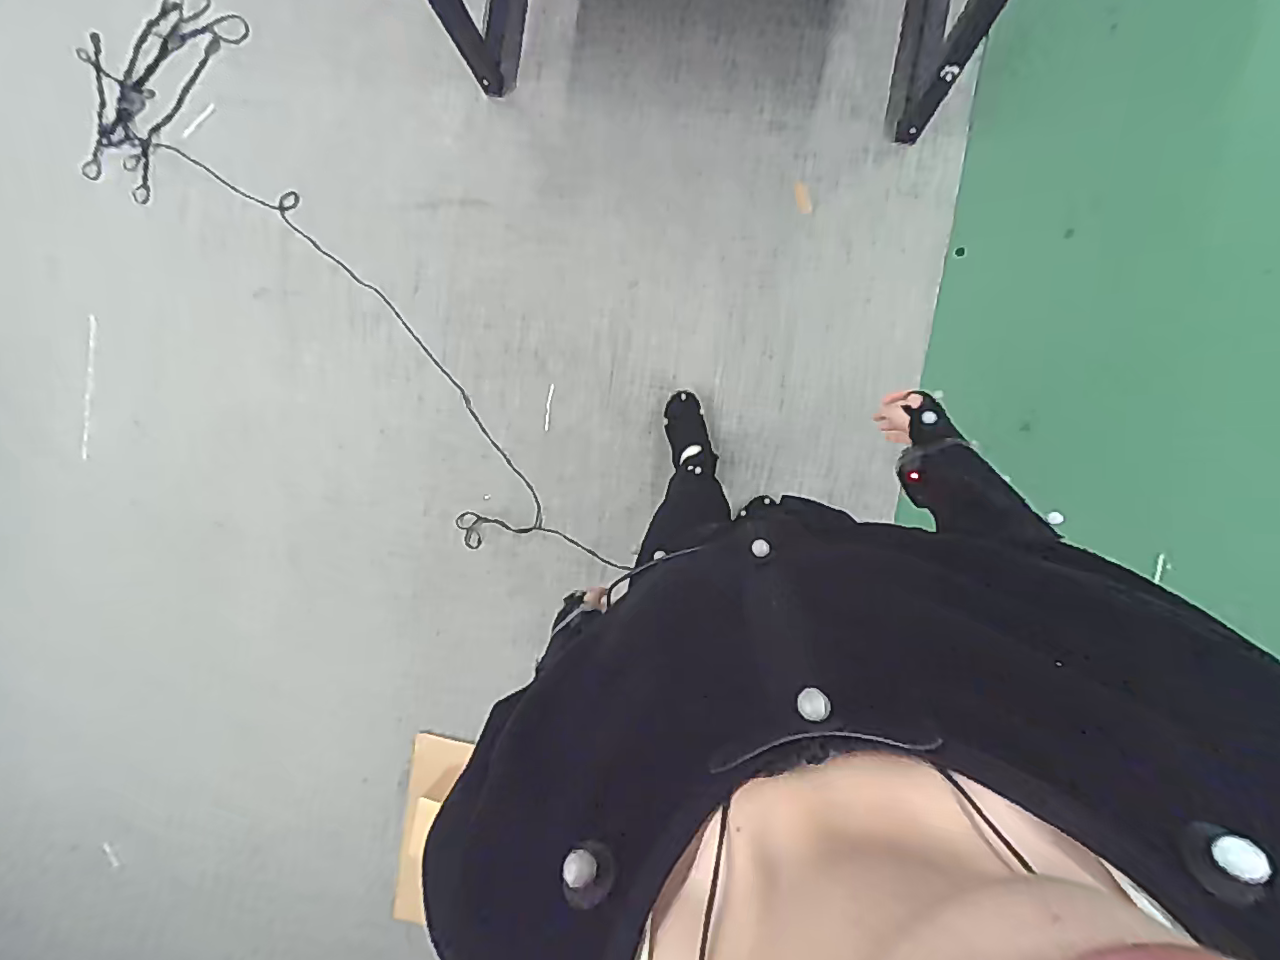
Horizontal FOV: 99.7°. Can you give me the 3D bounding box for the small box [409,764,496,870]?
[{"bbox_3d":[-0.526,0.951,1.543,0.168,0.176,0.179,13,95,7],"label":"small box"}]
